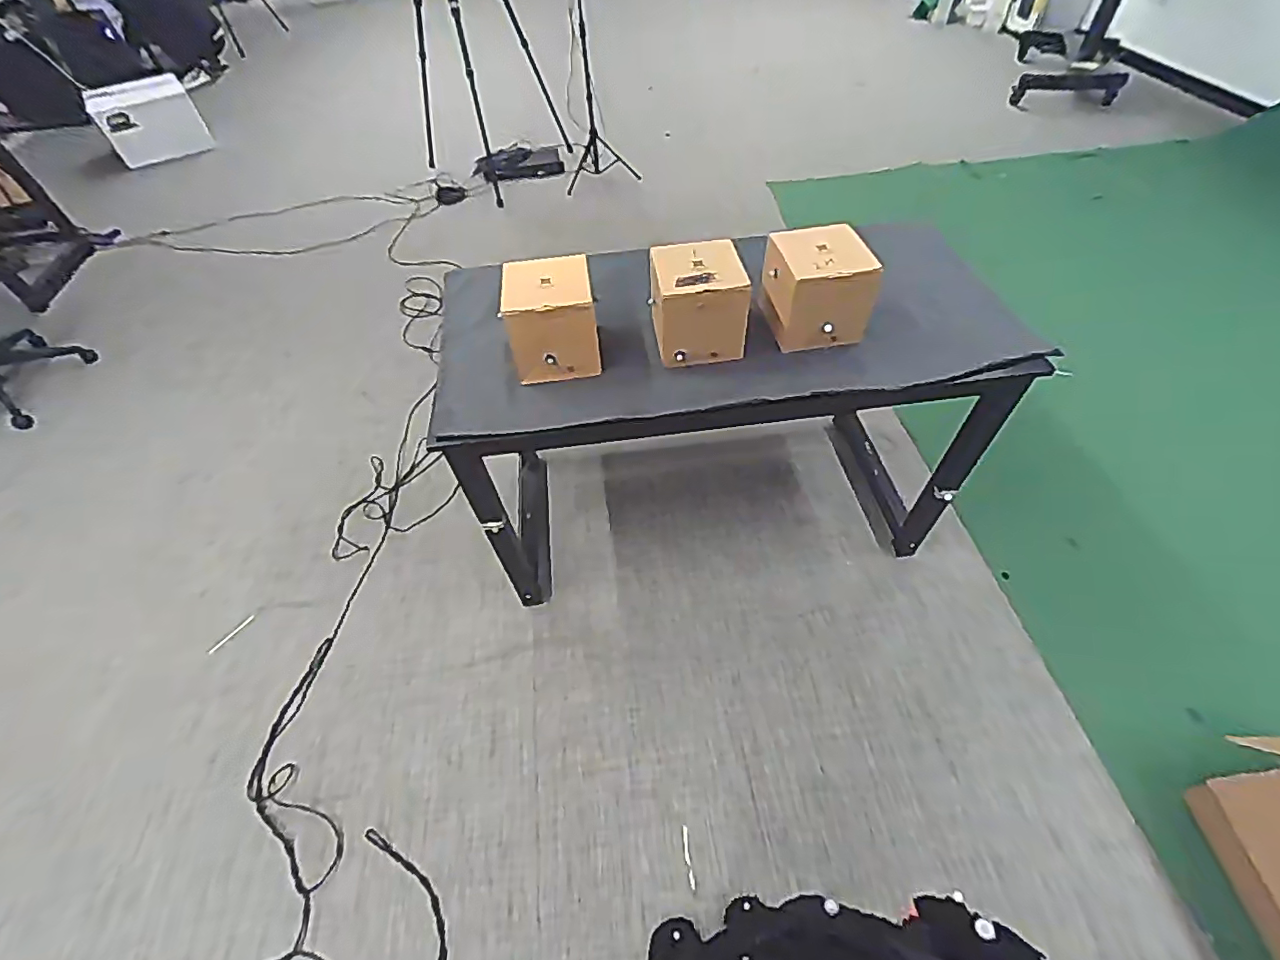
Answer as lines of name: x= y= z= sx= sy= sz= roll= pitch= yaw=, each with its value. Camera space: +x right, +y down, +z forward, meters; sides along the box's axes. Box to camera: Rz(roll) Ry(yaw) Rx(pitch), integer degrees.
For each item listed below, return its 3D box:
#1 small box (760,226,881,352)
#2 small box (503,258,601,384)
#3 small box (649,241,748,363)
small box: x=0.353 y=-0.387 z=1.100 sx=0.168 sy=0.176 sz=0.179 roll=-9 pitch=52 yaw=-3
small box: x=-0.172 y=-0.316 z=1.077 sx=0.168 sy=0.176 sz=0.179 roll=-8 pitch=51 yaw=-4
small box: x=0.113 y=-0.351 z=1.088 sx=0.168 sy=0.176 sz=0.179 roll=-7 pitch=51 yaw=-2
